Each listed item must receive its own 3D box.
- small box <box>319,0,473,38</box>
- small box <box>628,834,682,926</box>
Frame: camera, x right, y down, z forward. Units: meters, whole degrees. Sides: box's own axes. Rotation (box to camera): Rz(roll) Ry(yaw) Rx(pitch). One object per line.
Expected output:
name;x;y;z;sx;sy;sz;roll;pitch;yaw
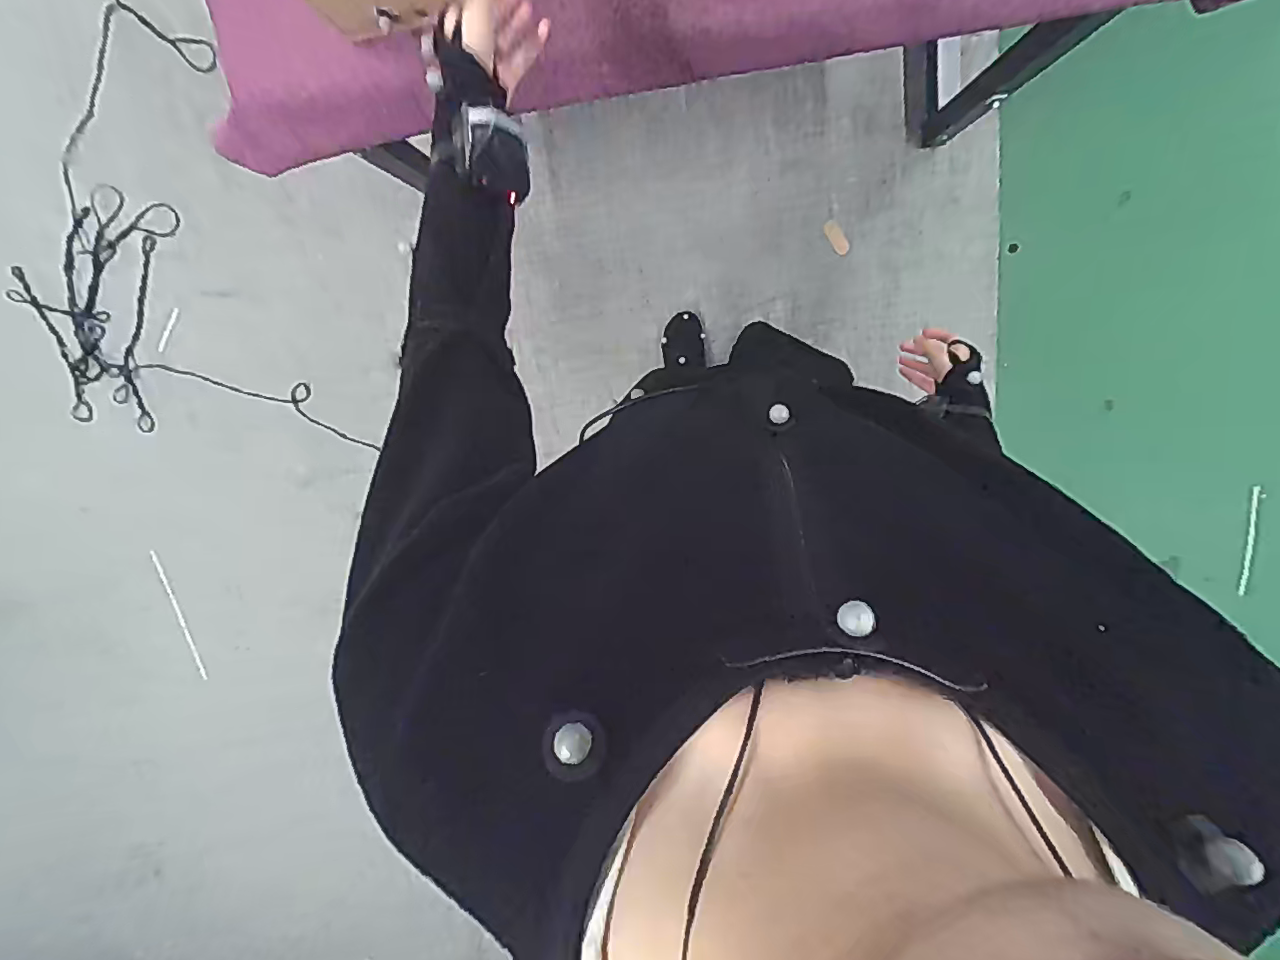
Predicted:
small box;-0.292;-0.612;0.555;0.168;0.176;0.179;-8;104;6
small box;0.050;1.280;1.740;0.168;0.176;0.179;0;105;5
